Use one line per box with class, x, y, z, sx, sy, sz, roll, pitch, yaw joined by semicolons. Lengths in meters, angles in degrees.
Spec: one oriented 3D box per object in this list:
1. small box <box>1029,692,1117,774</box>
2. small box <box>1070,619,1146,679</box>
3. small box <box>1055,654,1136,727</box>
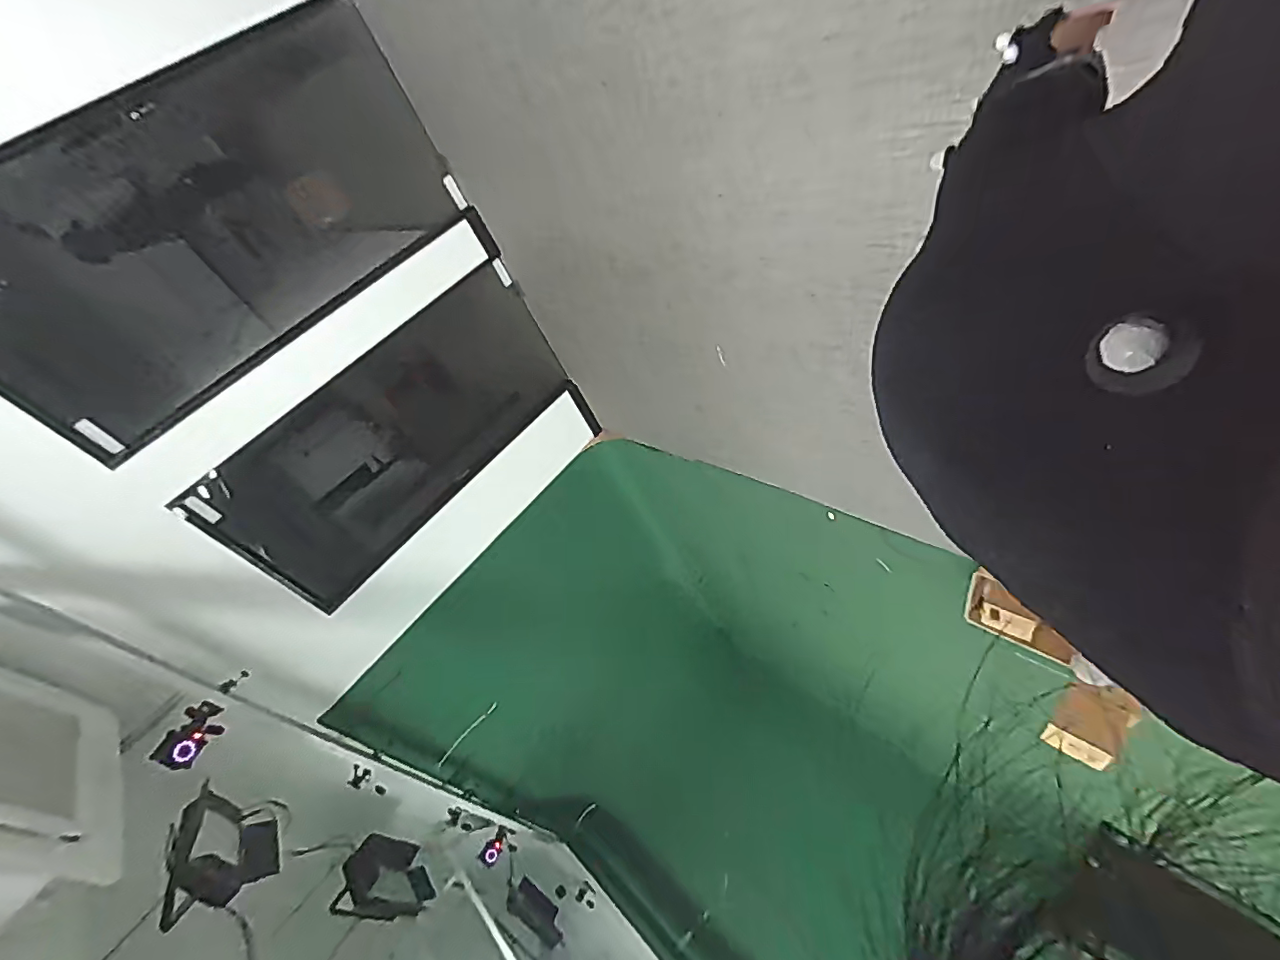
small box;1.465;0.849;1.834;0.179;0.176;0.168;26;153;40
small box;1.686;0.637;1.955;0.168;0.176;0.179;26;152;40
small box;1.581;0.743;1.887;0.179;0.176;0.168;27;153;40
